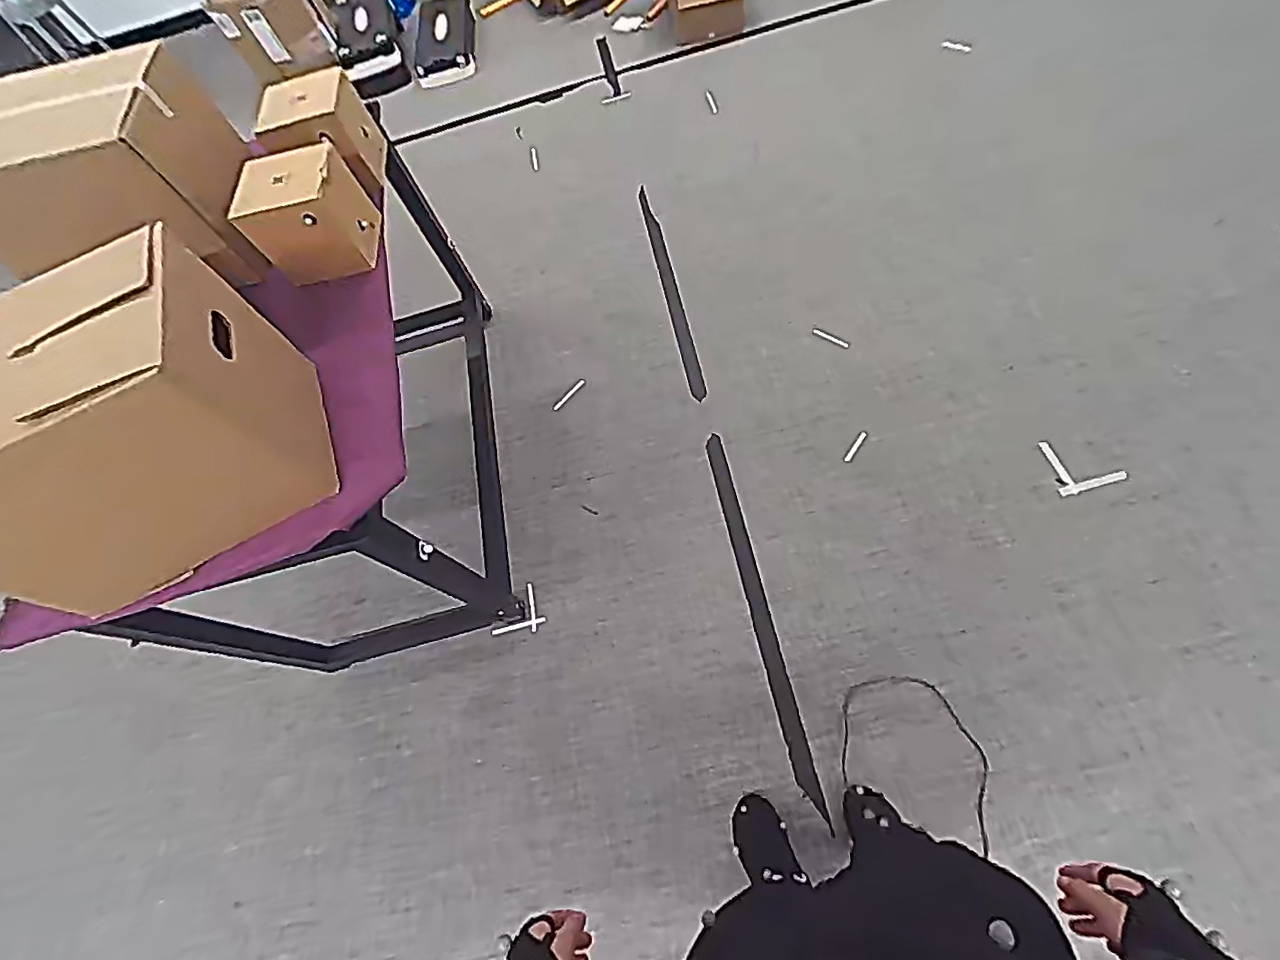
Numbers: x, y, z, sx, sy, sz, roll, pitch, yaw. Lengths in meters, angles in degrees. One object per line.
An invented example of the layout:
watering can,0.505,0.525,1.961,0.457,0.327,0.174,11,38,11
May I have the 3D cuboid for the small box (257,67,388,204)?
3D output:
small box,-0.672,-0.735,1.168,0.179,0.176,0.168,-12,63,6
